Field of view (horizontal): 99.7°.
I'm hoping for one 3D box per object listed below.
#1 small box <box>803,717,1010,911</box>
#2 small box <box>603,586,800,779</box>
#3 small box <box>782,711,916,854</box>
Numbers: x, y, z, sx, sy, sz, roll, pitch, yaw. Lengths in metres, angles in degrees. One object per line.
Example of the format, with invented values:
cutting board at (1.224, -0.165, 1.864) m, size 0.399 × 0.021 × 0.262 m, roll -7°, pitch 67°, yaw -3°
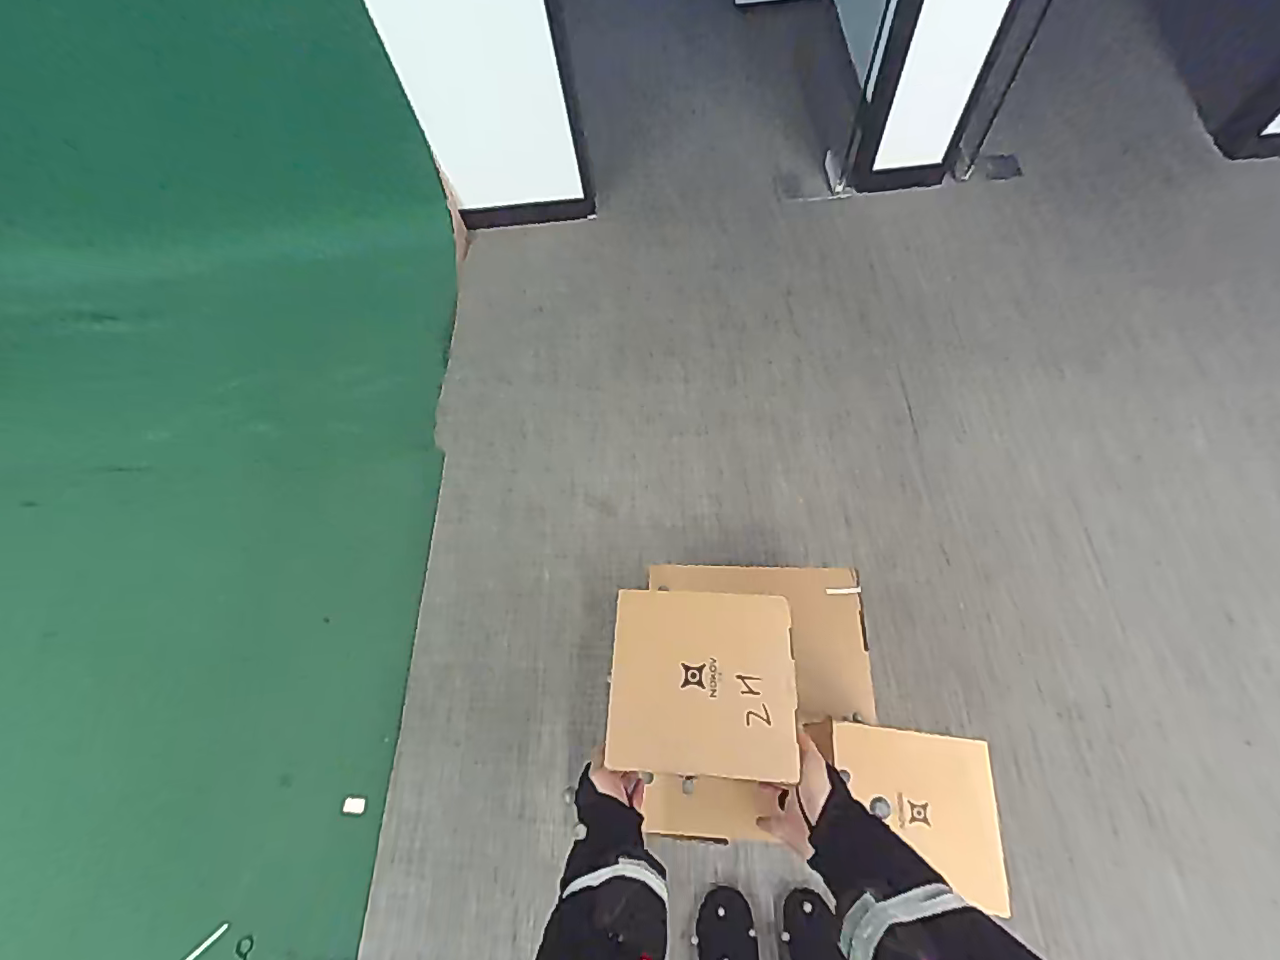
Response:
small box at (0.306, 0.391, 0.662) m, size 0.179 × 0.176 × 0.168 m, roll 4°, pitch 64°, yaw 7°
small box at (0.065, 0.219, 0.578) m, size 0.179 × 0.176 × 0.168 m, roll 1°, pitch 63°, yaw 6°
small box at (0.310, 0.455, 0.812) m, size 0.168 × 0.176 × 0.179 m, roll 4°, pitch 64°, yaw 6°
